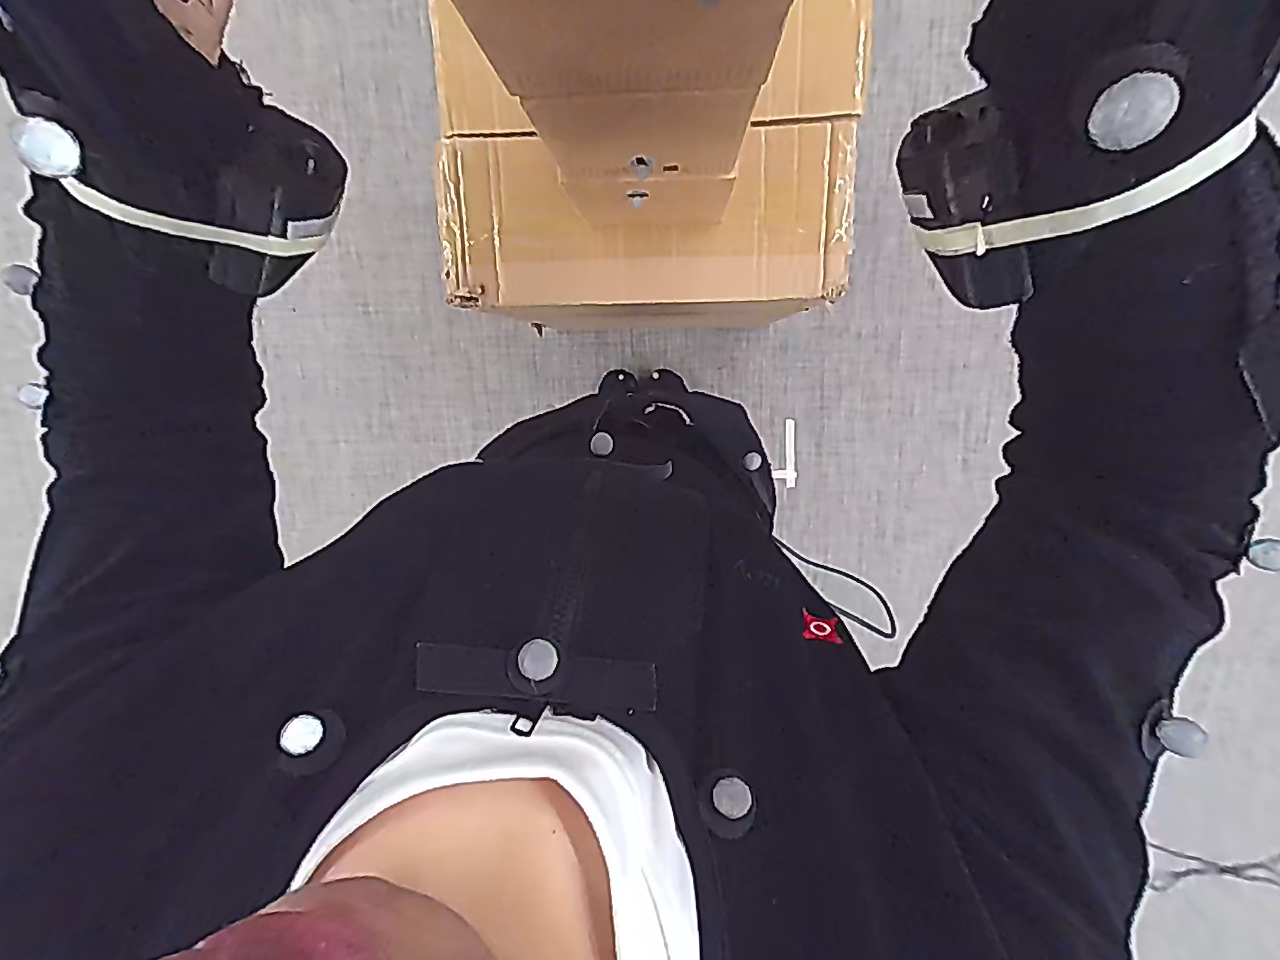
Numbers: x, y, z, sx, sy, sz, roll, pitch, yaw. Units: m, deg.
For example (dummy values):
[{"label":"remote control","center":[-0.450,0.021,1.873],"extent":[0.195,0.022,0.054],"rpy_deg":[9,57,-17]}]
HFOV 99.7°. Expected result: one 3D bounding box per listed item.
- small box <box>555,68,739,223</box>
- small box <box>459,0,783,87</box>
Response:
[{"label":"small box","center":[0.010,-0.387,0.586],"extent":[0.179,0.176,0.168],"rpy_deg":[0,102,3]},{"label":"small box","center":[-0.008,-0.324,0.263],"extent":[0.179,0.176,0.168],"rpy_deg":[0,102,4]}]
